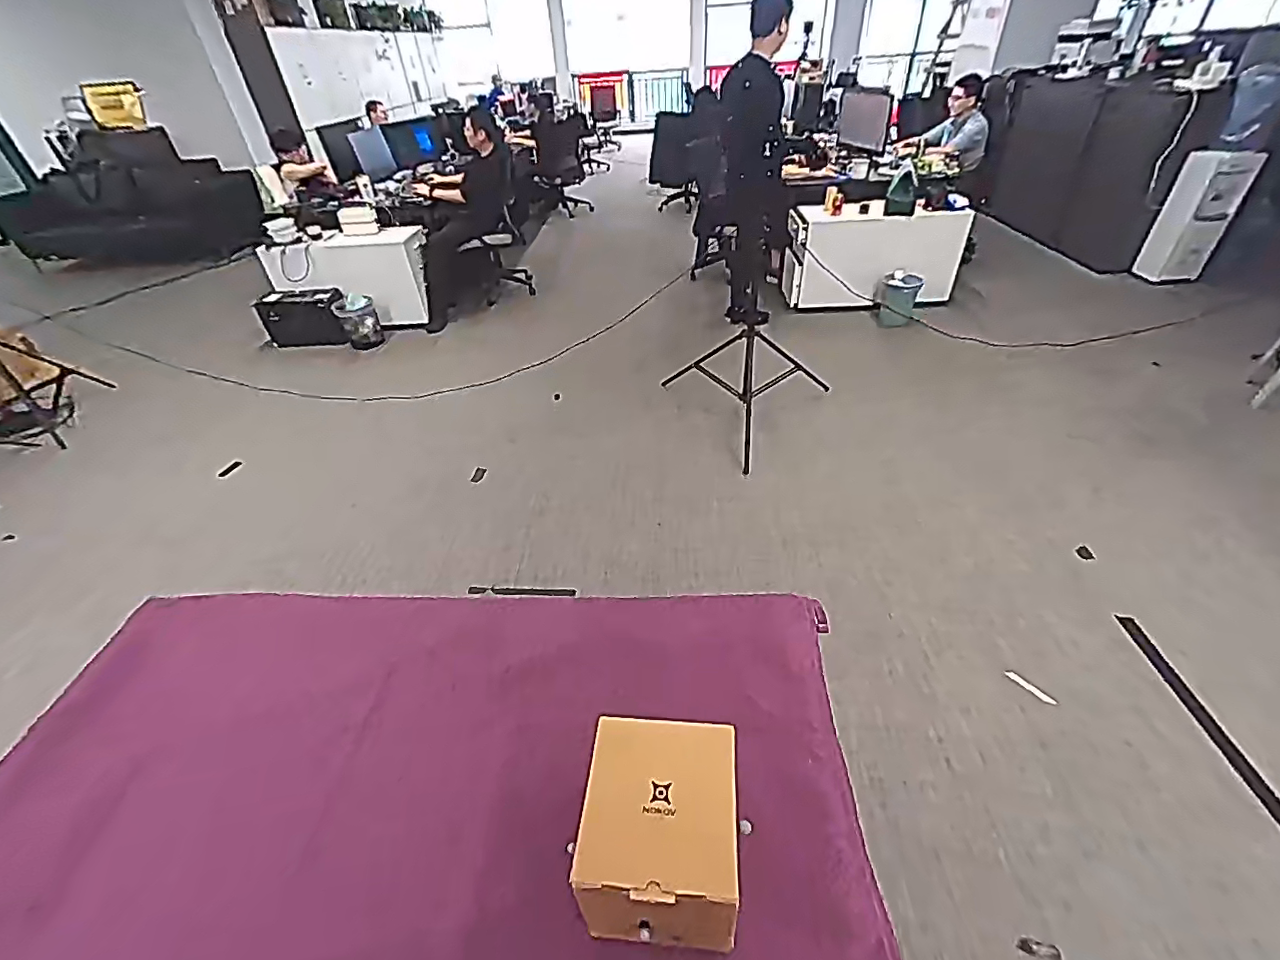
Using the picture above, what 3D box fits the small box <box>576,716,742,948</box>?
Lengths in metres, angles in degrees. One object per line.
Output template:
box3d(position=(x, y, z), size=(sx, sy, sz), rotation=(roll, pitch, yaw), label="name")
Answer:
box3d(position=(0.030, 0.407, 0.634), size=(0.168, 0.176, 0.179), rotation=(1, 38, 7), label="small box")
